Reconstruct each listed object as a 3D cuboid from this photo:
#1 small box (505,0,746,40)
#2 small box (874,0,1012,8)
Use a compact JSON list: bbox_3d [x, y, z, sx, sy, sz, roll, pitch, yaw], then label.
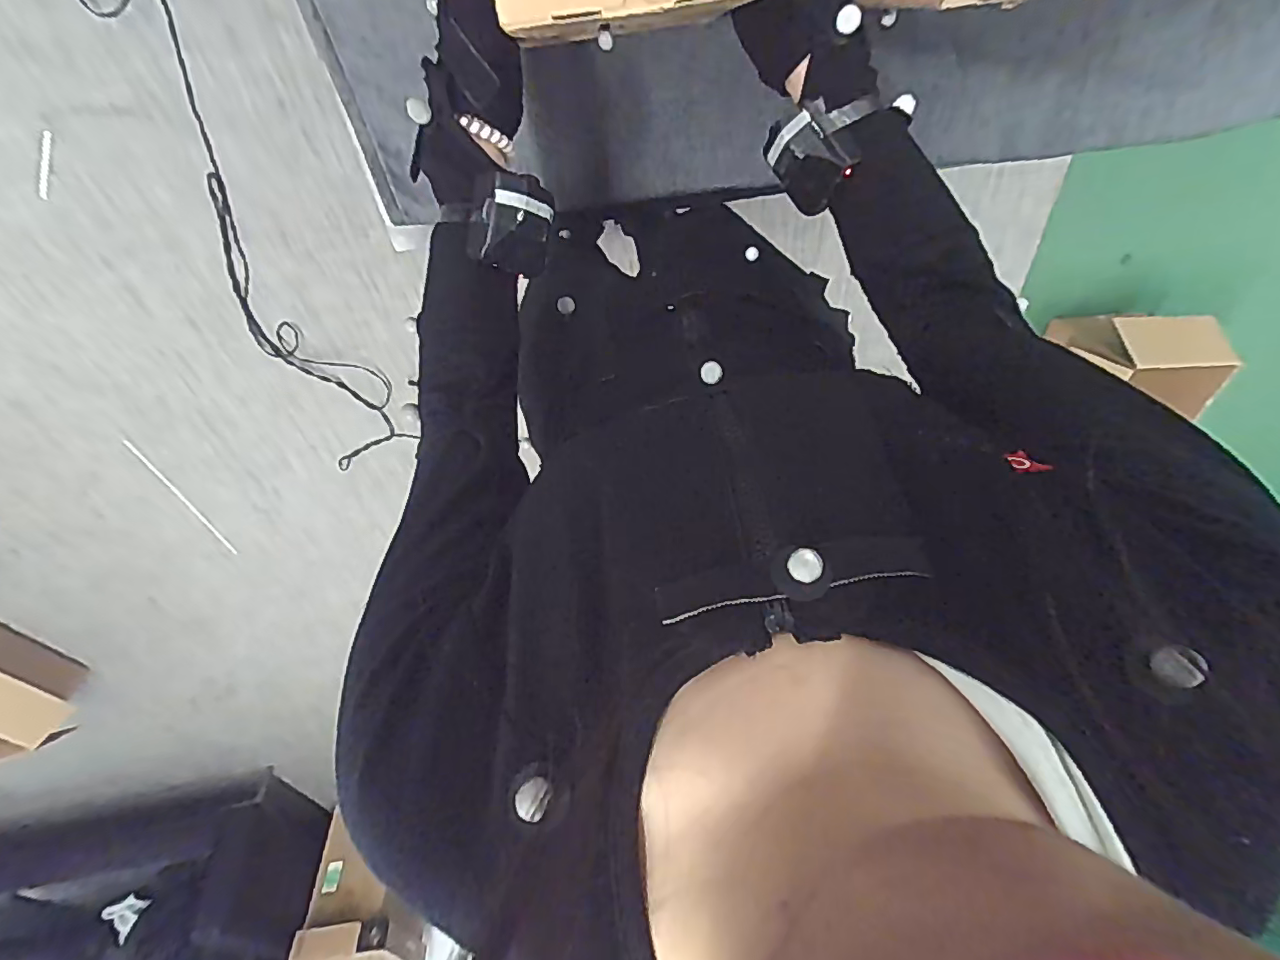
[{"bbox_3d":[-0.017,-0.398,0.334,0.168,0.176,0.179,-10,128,-2],"label":"small box"},{"bbox_3d":[0.266,-0.448,0.371,0.168,0.176,0.179,-9,130,-2],"label":"small box"}]
